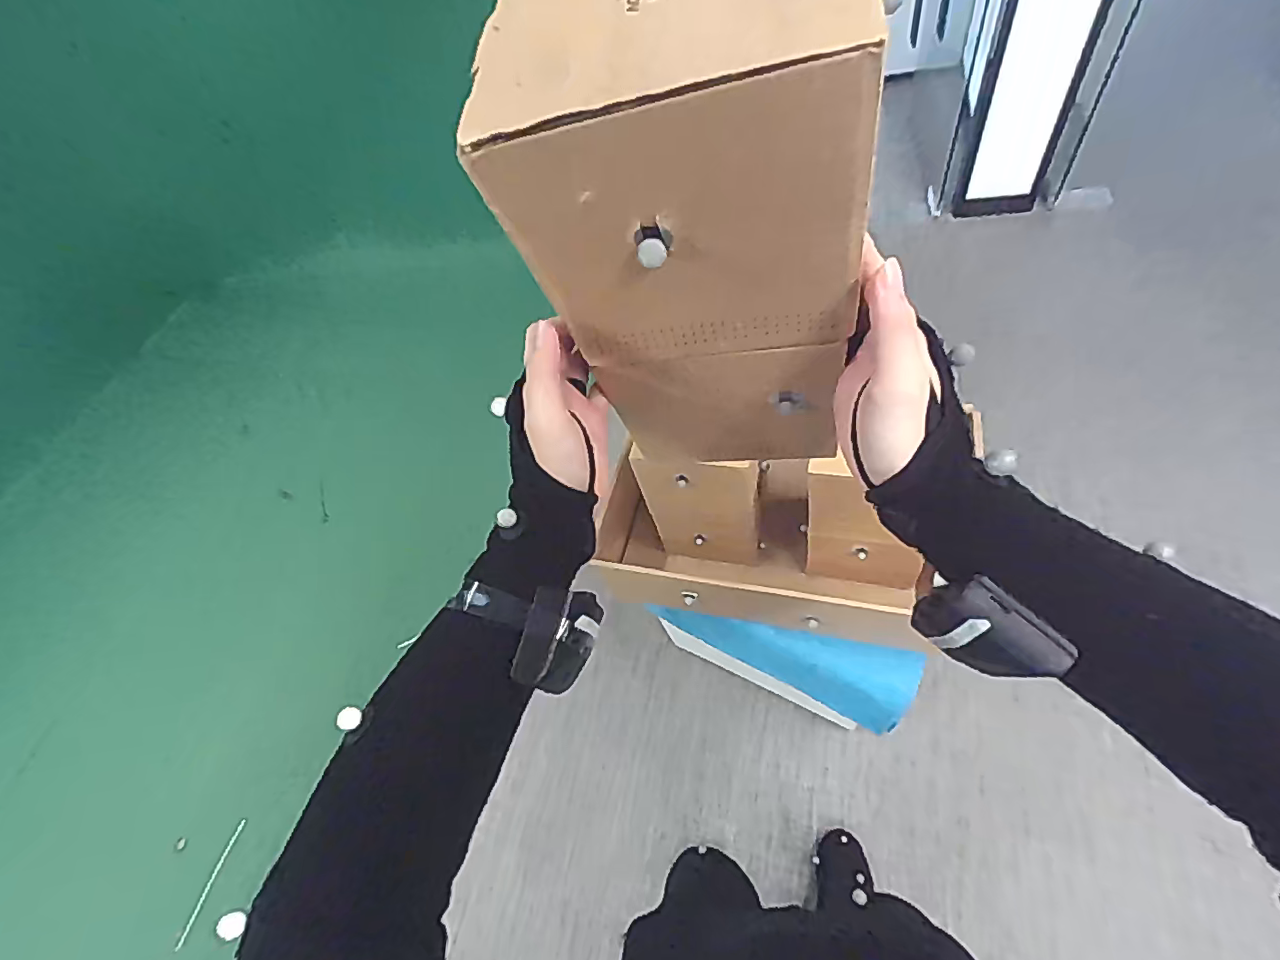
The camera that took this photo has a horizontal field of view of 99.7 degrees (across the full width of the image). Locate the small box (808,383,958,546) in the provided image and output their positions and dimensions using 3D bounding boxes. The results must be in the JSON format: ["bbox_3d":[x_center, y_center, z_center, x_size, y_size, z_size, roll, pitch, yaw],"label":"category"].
[{"bbox_3d":[0.343,-0.020,0.782,0.179,0.176,0.168,7,60,20],"label":"small box"}]

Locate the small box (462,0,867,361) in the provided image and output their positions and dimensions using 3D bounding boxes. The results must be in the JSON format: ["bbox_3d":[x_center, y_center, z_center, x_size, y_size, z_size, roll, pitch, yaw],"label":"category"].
[{"bbox_3d":[0.030,-0.187,0.319,0.179,0.176,0.168,-4,67,17],"label":"small box"}]

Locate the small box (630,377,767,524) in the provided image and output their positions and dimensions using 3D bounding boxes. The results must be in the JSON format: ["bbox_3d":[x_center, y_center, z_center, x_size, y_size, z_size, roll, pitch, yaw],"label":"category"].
[{"bbox_3d":[0.103,-0.044,0.862,0.179,0.176,0.168,6,59,18],"label":"small box"}]
